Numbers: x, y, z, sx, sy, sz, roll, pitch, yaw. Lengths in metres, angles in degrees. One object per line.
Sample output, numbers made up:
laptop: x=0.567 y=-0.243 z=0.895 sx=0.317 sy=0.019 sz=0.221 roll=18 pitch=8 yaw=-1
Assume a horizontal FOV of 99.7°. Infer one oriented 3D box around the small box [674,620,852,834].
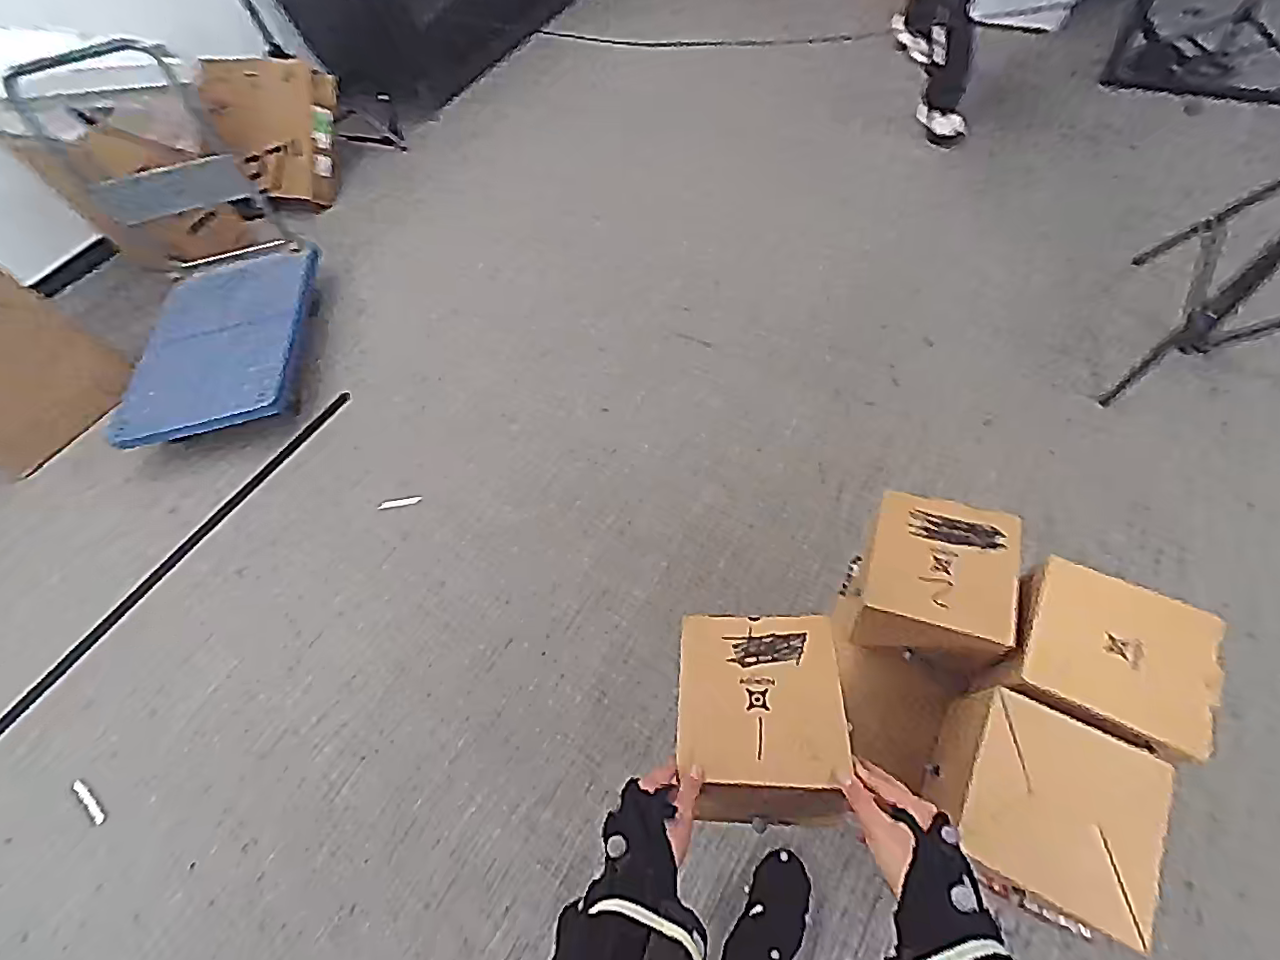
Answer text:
small box: x=0.134 y=0.278 z=0.614 sx=0.168 sy=0.176 sz=0.179 roll=-3 pitch=47 yaw=12
